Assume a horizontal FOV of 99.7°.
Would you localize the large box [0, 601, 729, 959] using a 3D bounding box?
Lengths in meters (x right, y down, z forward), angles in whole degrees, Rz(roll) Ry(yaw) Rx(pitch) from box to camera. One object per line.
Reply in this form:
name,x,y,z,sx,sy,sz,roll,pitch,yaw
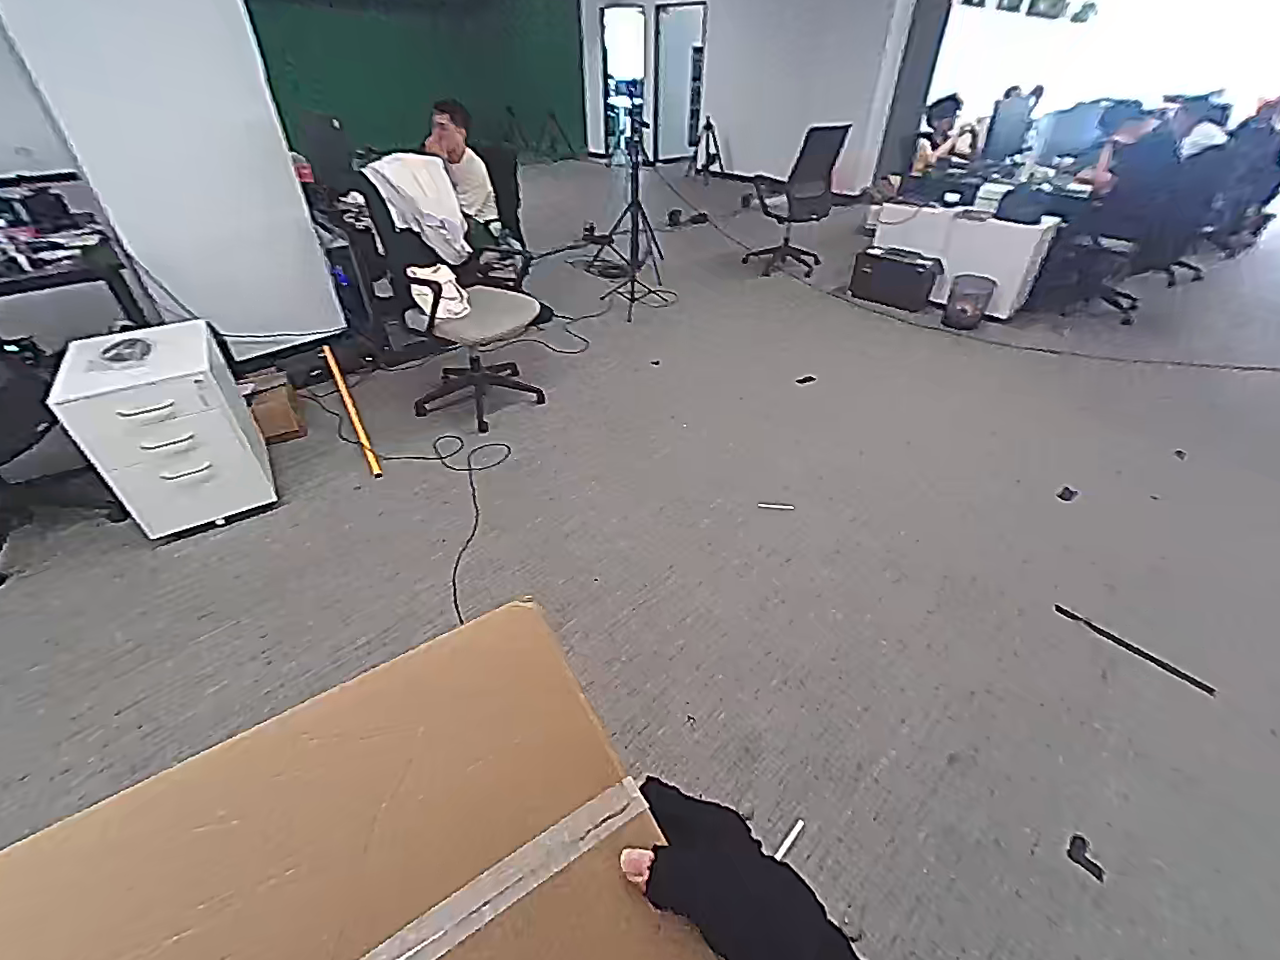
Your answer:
large box,-0.186,0.365,0.392,0.408,0.320,0.320,-24,60,-23
